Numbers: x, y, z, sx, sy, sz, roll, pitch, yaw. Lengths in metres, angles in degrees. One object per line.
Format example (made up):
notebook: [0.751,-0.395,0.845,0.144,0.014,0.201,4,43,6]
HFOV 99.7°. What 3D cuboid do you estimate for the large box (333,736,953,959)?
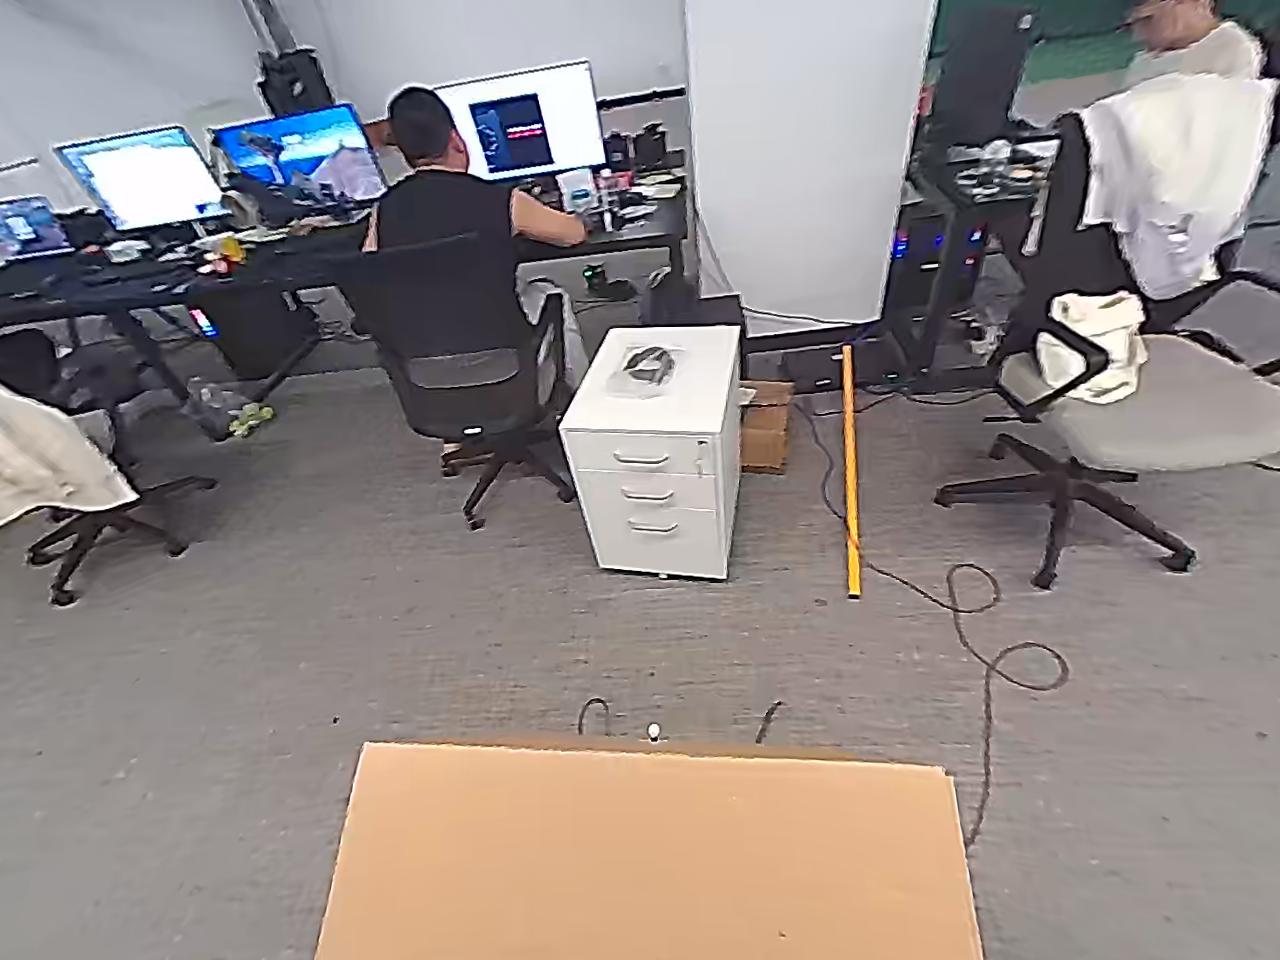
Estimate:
large box: [0.007,0.398,0.465,0.408,0.320,0.320,-1,66,4]
